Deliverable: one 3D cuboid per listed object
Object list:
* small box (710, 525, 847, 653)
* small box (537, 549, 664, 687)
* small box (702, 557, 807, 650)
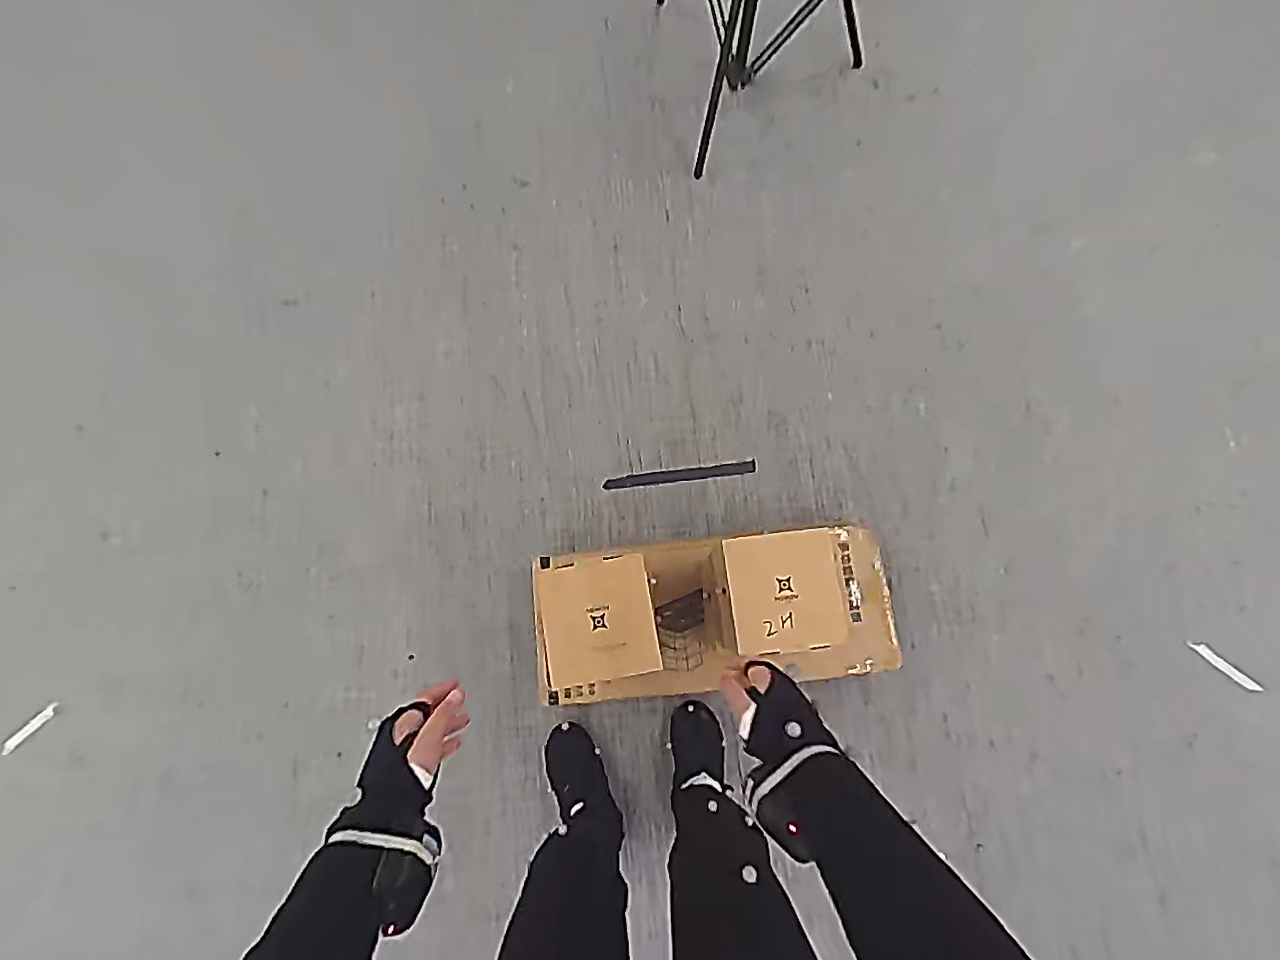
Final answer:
[{"bbox_3d":[0.213,0.178,0.881,0.168,0.176,0.179,-7,77,0],"label":"small box"},{"bbox_3d":[-0.061,0.220,0.876,0.168,0.176,0.179,-11,78,-1],"label":"small box"},{"bbox_3d":[0.211,0.229,1.040,0.168,0.176,0.179,-2,78,1],"label":"small box"}]
